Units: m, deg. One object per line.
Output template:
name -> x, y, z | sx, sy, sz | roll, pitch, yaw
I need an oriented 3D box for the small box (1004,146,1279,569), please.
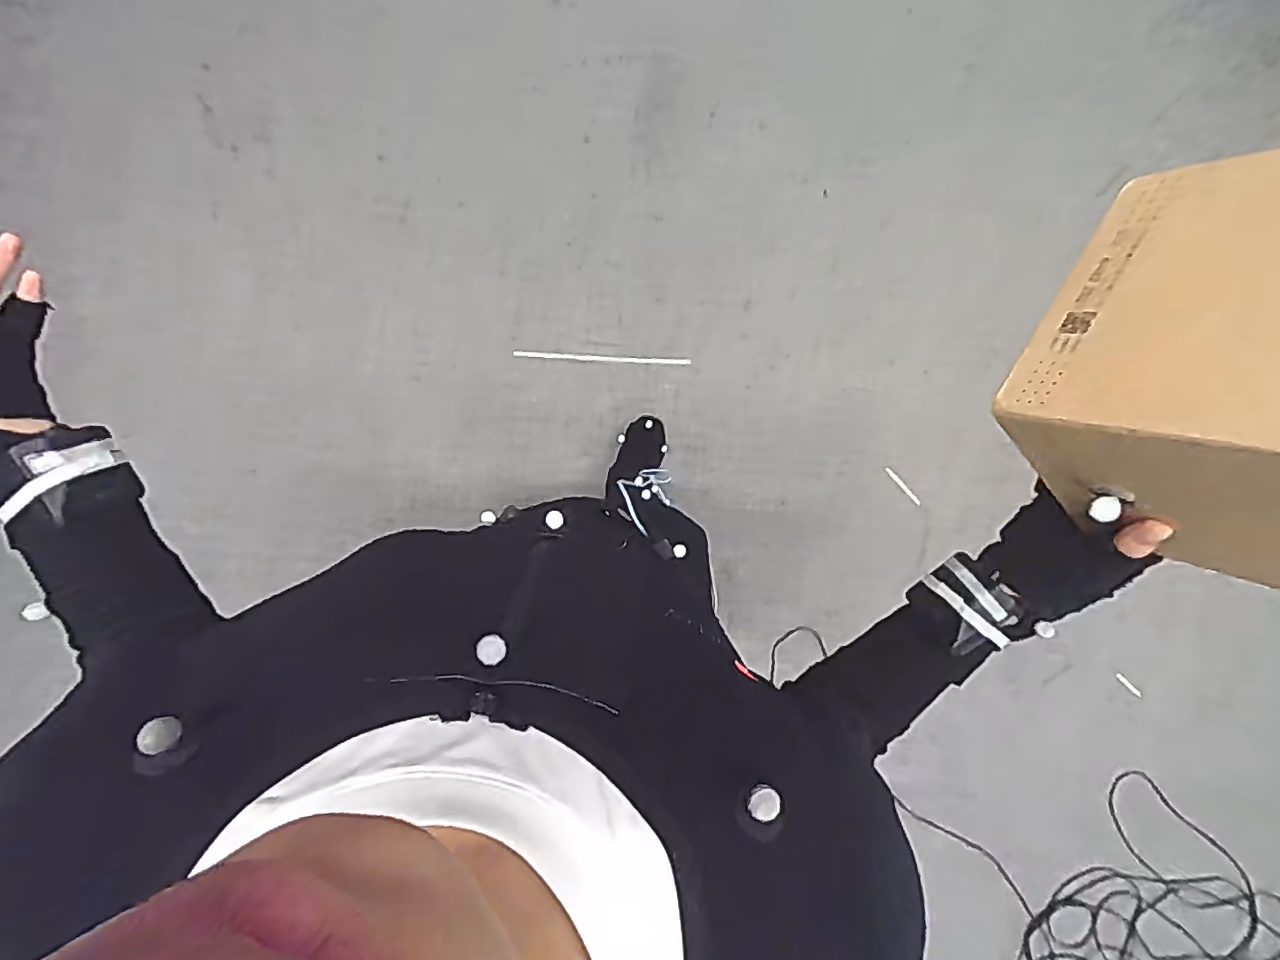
small box -> 0.346, -0.059, 0.290 | 0.179, 0.176, 0.168 | 32, 89, -31
